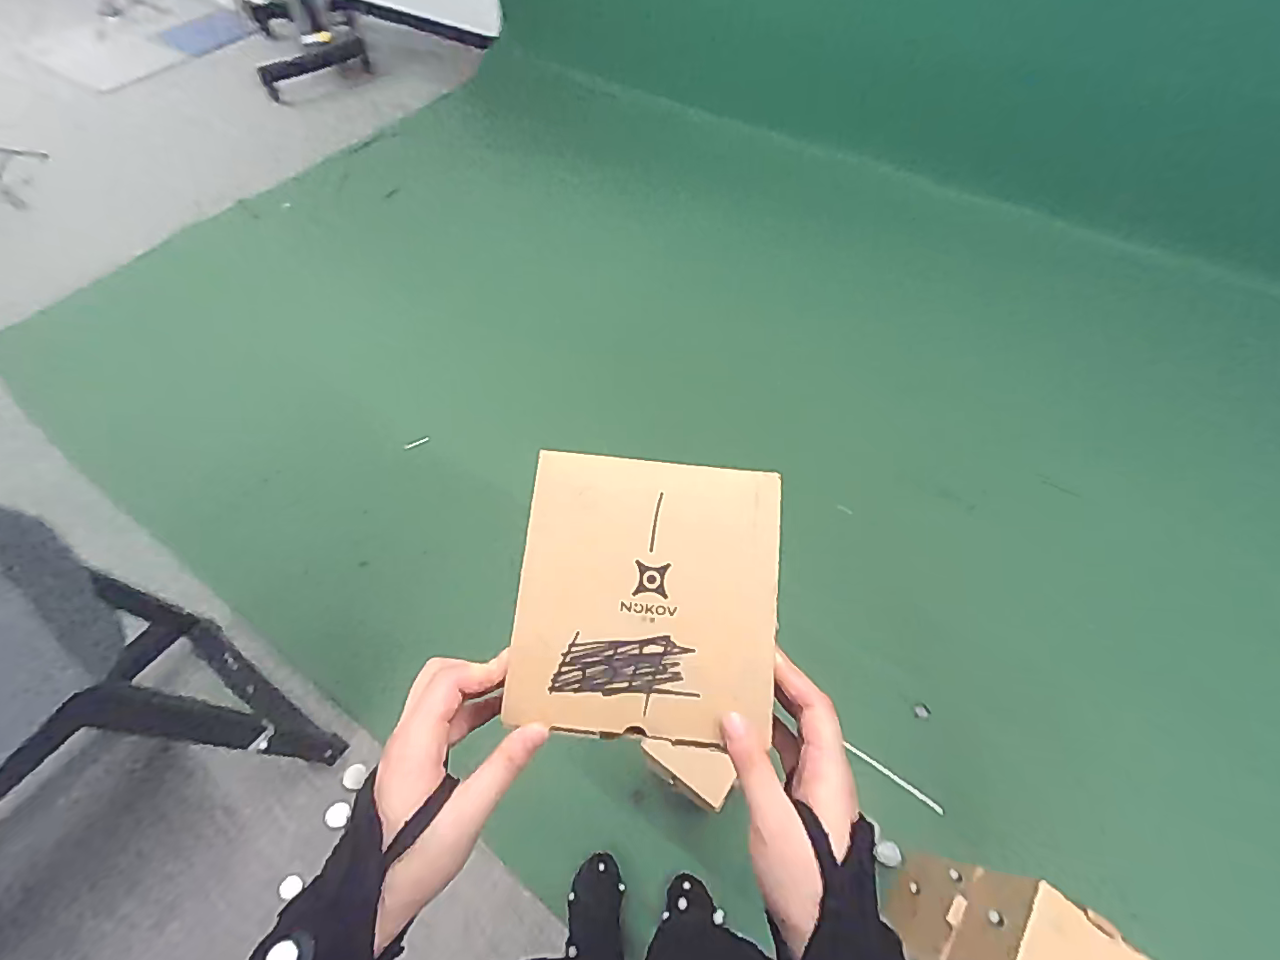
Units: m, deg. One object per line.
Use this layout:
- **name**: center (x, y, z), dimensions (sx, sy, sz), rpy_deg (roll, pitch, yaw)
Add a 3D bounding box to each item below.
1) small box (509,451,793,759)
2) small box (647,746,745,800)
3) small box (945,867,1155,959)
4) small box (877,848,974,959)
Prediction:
- **small box**: center (0.009, 0.090, 0.415), dimensions (0.168, 0.176, 0.179), rpy_deg (6, 77, -1)
- **small box**: center (0.122, 0.517, 1.091), dimensions (0.179, 0.176, 0.168), rpy_deg (32, 66, 18)
- **small box**: center (0.580, 0.702, 0.781), dimensions (0.168, 0.176, 0.179), rpy_deg (35, 65, 18)
- **small box**: center (0.595, 0.868, 1.065), dimensions (0.168, 0.176, 0.179), rpy_deg (38, 66, 21)
